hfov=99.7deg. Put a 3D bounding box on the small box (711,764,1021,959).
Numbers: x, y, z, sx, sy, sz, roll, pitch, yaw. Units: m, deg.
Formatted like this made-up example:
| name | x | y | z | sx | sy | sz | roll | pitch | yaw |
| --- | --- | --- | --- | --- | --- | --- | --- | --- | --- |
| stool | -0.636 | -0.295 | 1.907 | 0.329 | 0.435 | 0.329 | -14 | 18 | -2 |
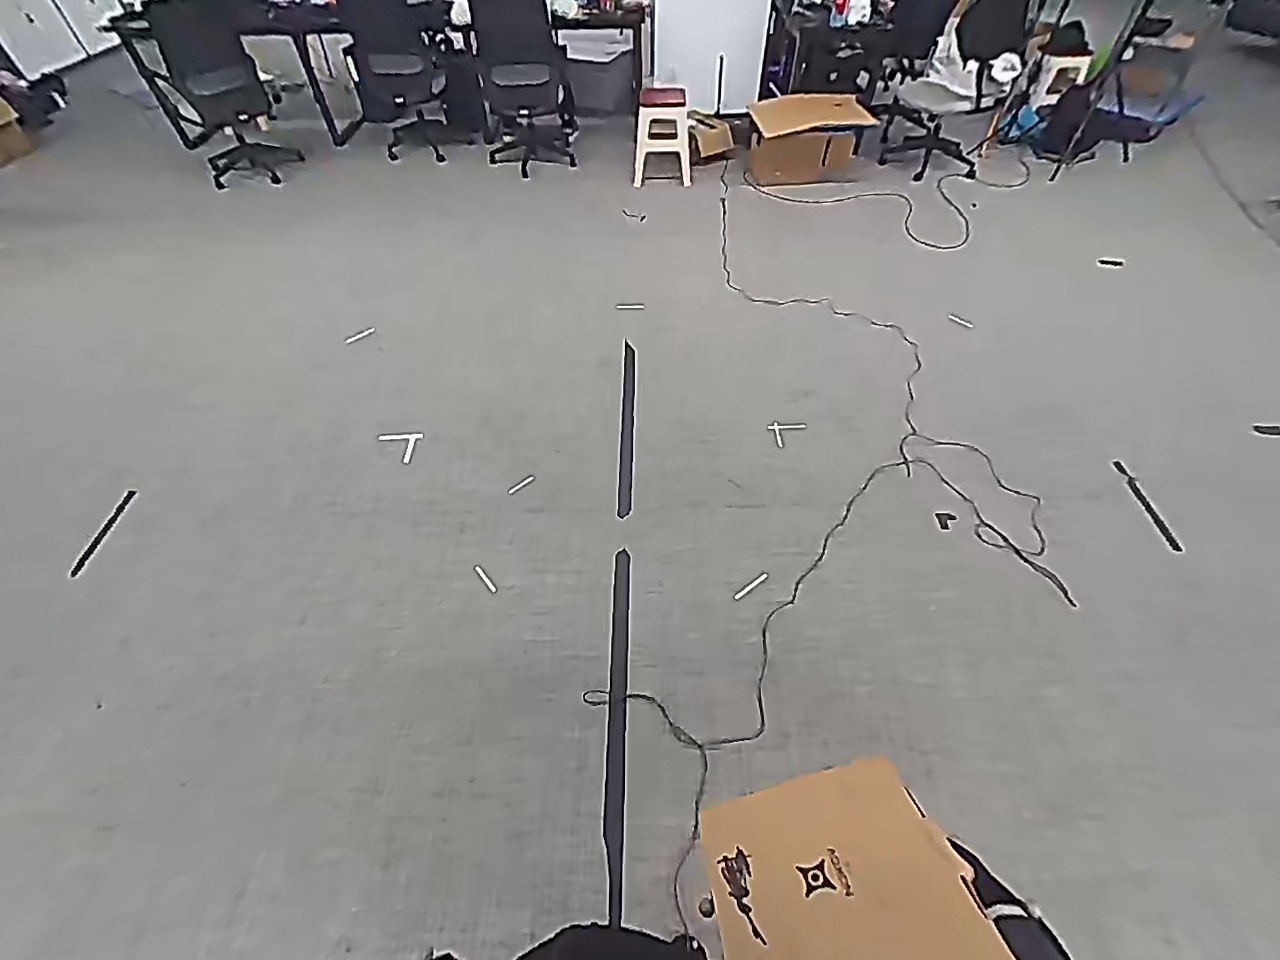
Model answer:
| name | x | y | z | sx | sy | sz | roll | pitch | yaw |
| --- | --- | --- | --- | --- | --- | --- | --- | --- | --- |
| small box | 0.172 | 0.372 | 0.428 | 0.179 | 0.176 | 0.168 | -18 | 15 | 2 |
